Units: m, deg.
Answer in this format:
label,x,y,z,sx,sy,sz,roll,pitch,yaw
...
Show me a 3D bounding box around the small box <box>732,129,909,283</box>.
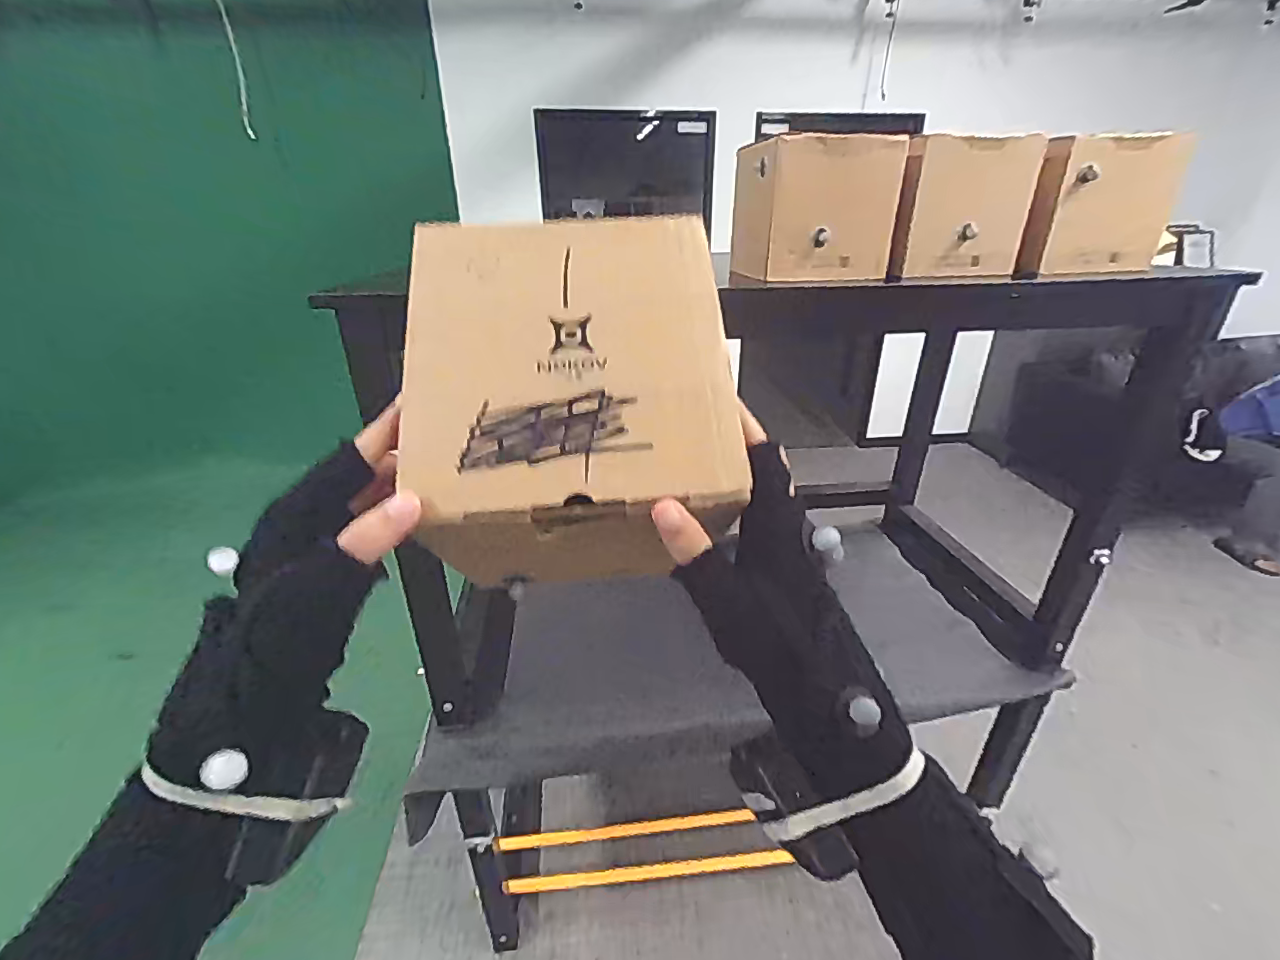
label,x,y,z,sx,sy,sz,roll,pitch,yaw
small box,0.231,-0.371,0.747,0.168,0.176,0.179,-3,26,-6
